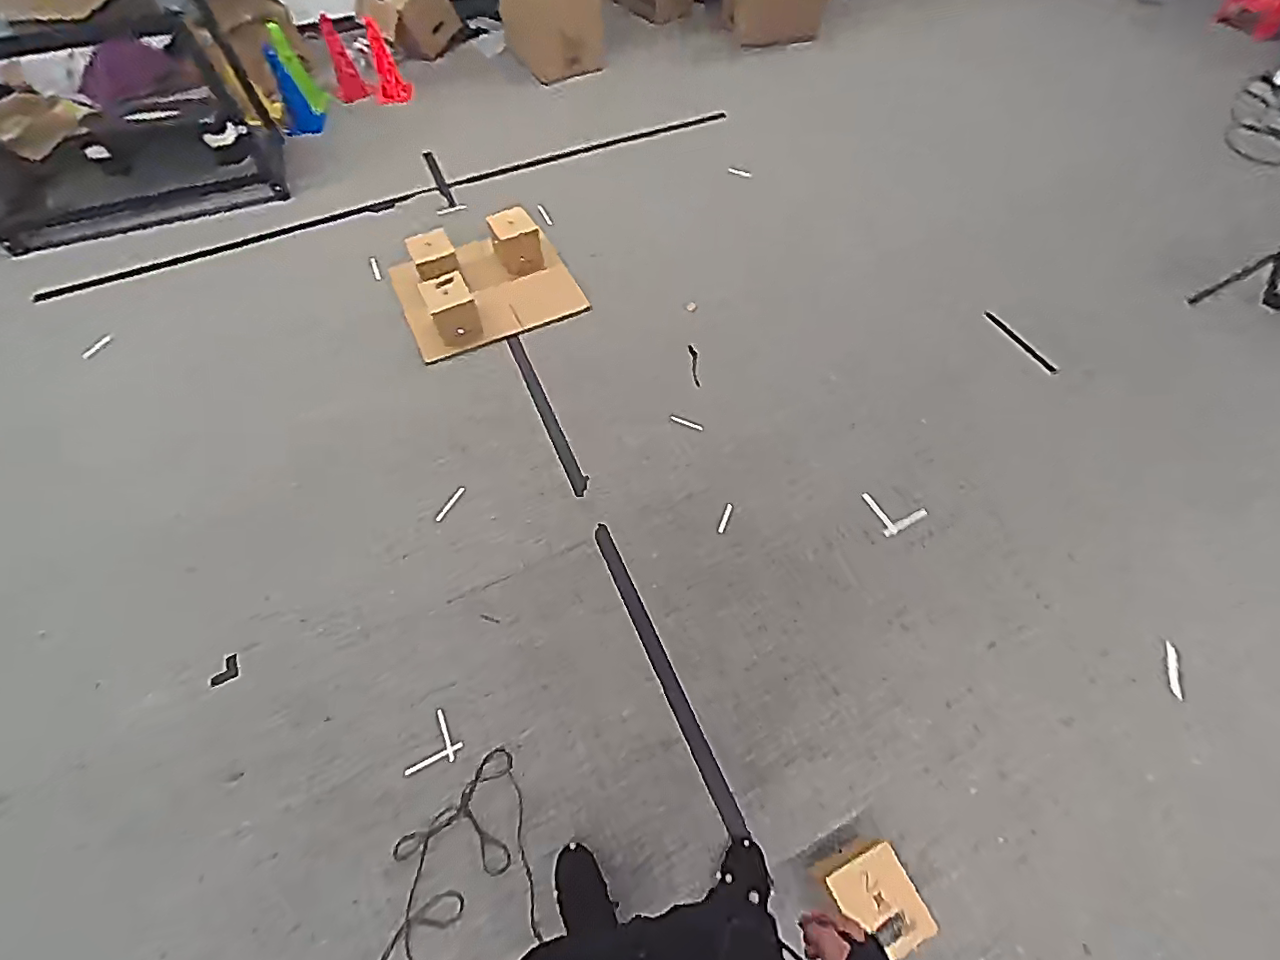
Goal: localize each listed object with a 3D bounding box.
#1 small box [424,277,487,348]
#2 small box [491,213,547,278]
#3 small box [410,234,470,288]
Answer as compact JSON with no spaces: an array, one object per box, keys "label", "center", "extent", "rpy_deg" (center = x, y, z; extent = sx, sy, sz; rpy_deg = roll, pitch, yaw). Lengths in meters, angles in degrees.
[{"label":"small box","center":[-0.717,-0.651,2.110],"extent":[0.168,0.176,0.179],"rpy_deg":[-25,63,-13]},{"label":"small box","center":[-0.517,-1.005,2.323],"extent":[0.168,0.176,0.179],"rpy_deg":[-27,63,-14]},{"label":"small box","center":[-0.827,-0.878,2.243],"extent":[0.168,0.176,0.179],"rpy_deg":[-24,63,-12]}]
